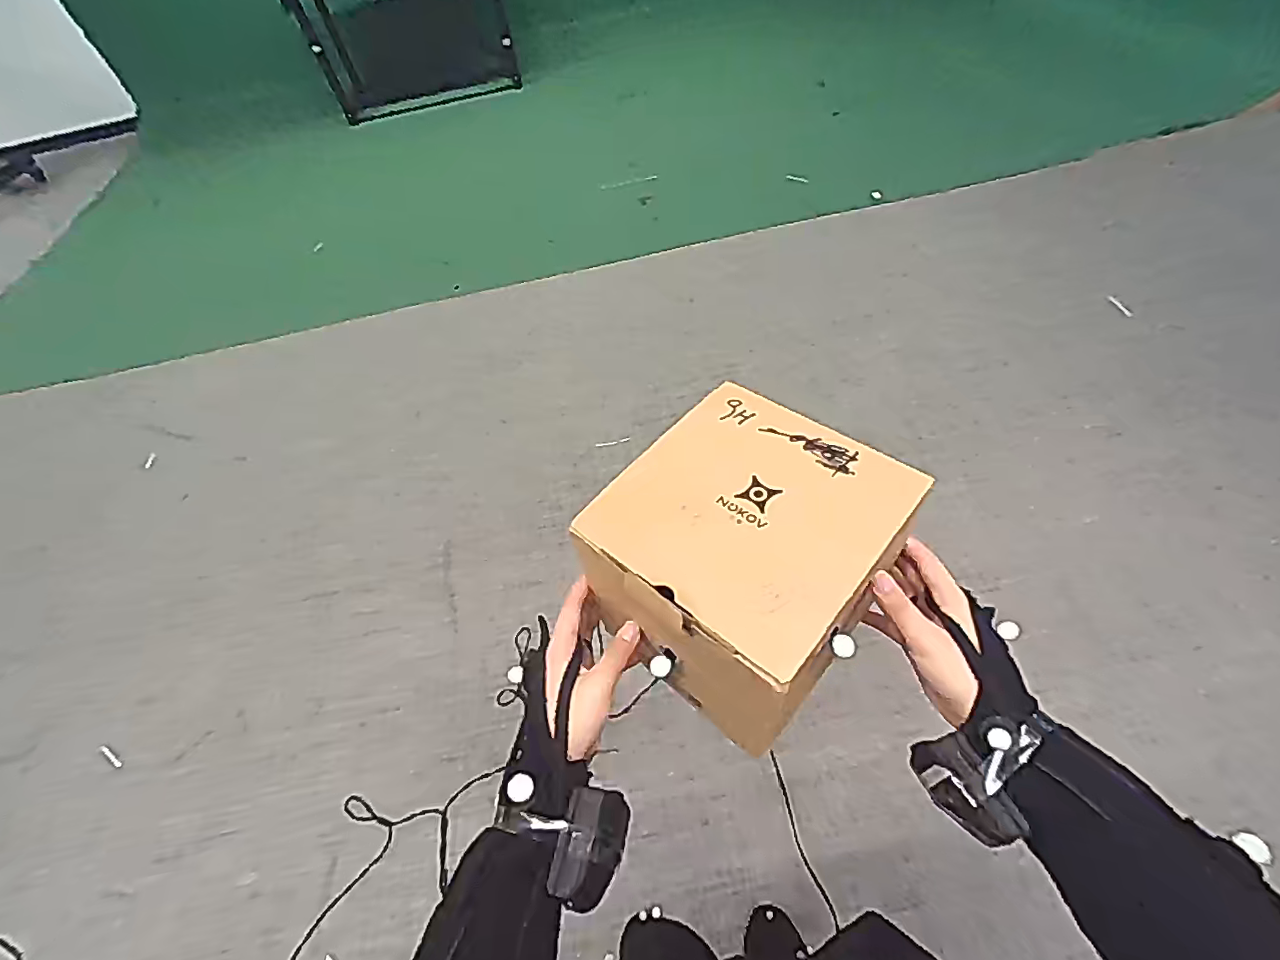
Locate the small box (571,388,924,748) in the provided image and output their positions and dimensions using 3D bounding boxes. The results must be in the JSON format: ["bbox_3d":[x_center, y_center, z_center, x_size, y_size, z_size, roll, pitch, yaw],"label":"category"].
[{"bbox_3d":[0.078,0.069,0.414,0.168,0.176,0.179,33,62,29],"label":"small box"}]
